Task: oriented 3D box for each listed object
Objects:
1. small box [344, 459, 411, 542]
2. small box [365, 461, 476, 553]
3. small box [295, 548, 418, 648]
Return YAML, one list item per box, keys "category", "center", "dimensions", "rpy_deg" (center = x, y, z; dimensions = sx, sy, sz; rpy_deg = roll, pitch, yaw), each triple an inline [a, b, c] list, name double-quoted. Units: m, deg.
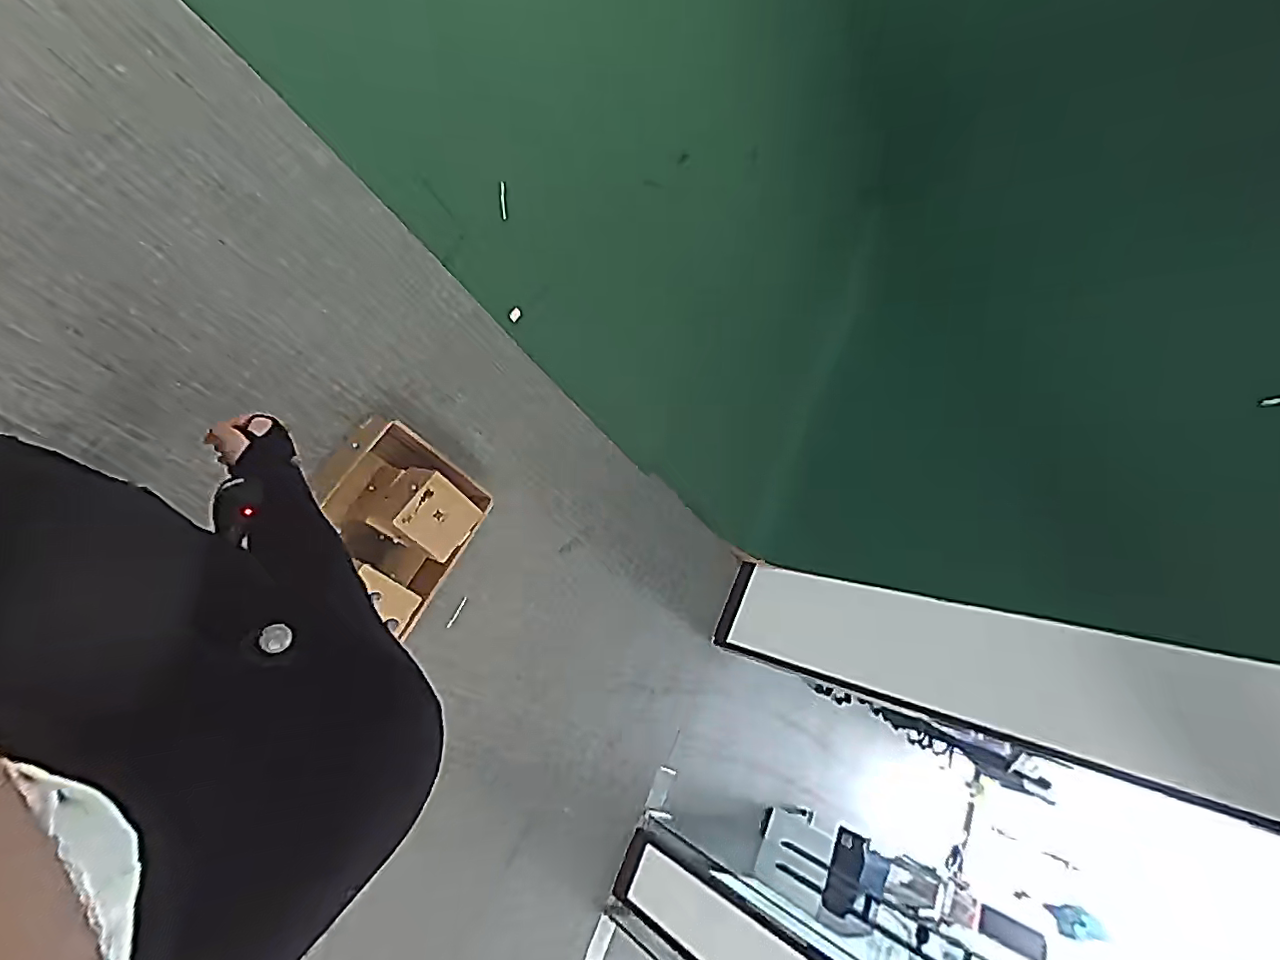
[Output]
- category: "small box"
  center: [-0.694, 0.055, 1.525]
  dimensions: [0.179, 0.176, 0.168]
  rpy_deg: [45, 64, -38]
- category: "small box"
  center: [-0.573, 0.064, 1.413]
  dimensions: [0.168, 0.176, 0.179]
  rpy_deg: [-57, 131, -26]
- category: "small box"
  center: [-0.692, 0.280, 1.319]
  dimensions: [0.179, 0.176, 0.168]
  rpy_deg: [48, 59, -37]
